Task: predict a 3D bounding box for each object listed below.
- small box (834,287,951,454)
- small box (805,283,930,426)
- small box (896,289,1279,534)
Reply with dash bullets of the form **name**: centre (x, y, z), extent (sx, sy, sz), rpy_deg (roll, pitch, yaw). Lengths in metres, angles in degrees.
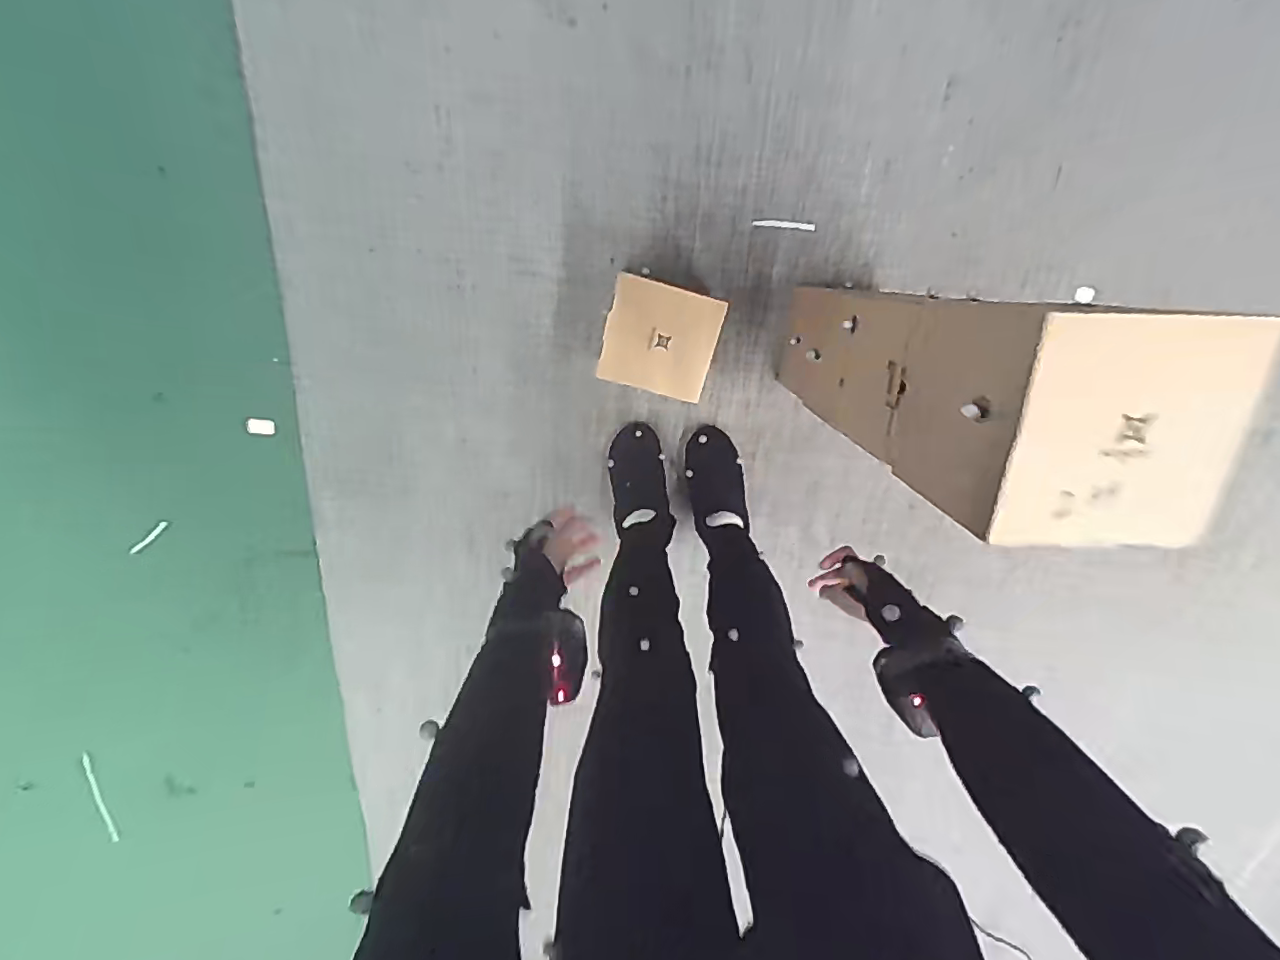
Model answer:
- **small box**: centre (0.340, -0.128, 0.615), extent (0.179, 0.176, 0.168), rpy_deg (1, 111, -2)
- **small box**: centre (0.346, -0.182, 0.771), extent (0.168, 0.176, 0.179), rpy_deg (1, 112, -2)
- **small box**: centre (0.344, -0.068, 0.461), extent (0.168, 0.176, 0.179), rpy_deg (1, 111, 0)
